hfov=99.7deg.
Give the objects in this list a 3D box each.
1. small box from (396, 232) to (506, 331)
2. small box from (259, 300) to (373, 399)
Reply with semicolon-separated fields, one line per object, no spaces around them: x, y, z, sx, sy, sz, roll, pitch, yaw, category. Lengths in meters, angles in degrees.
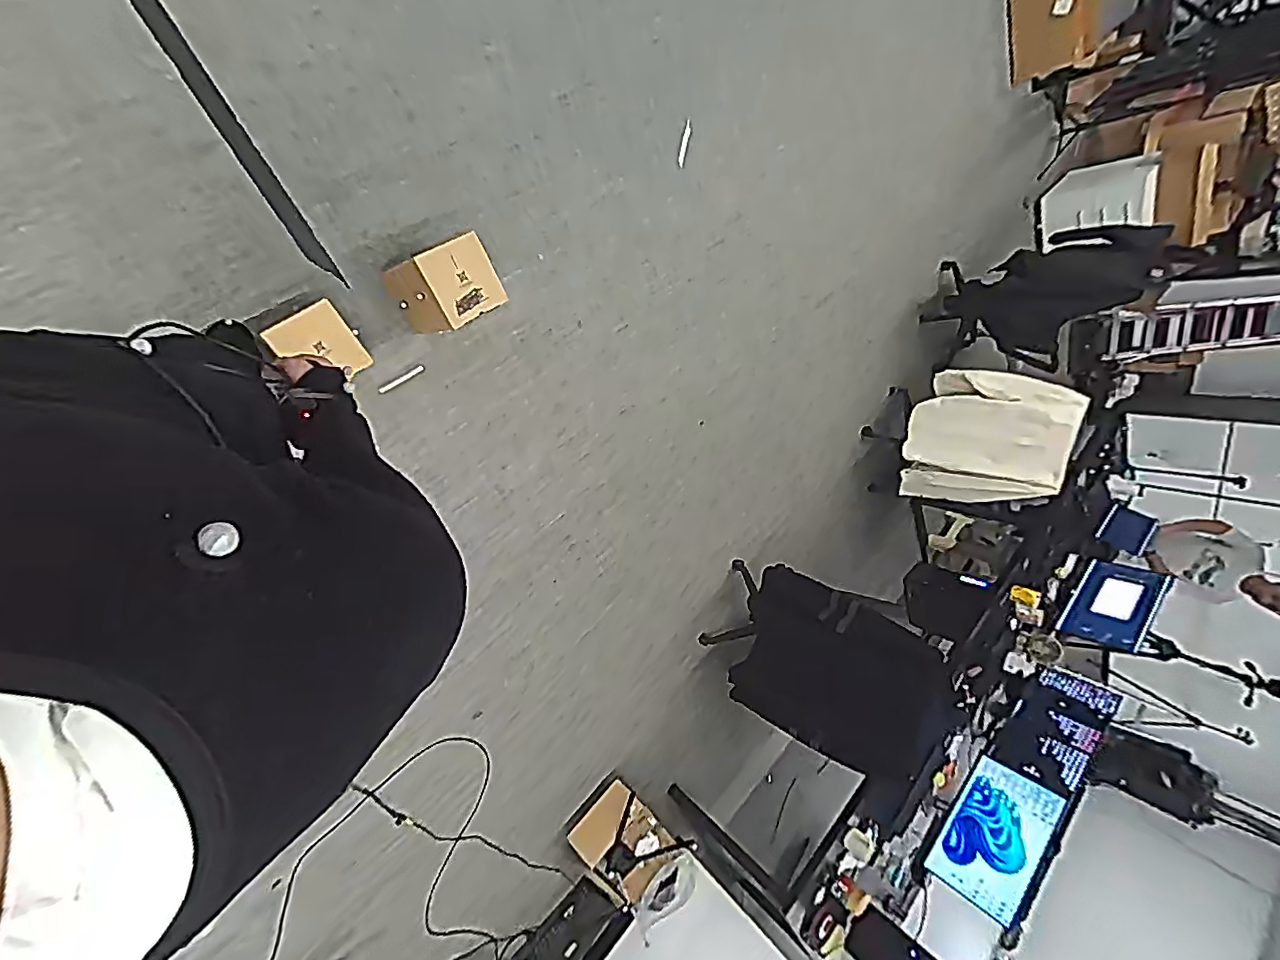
-0.466;-0.480;1.330;0.168;0.176;0.179;-40;121;-25;small box
-0.798;-0.316;1.325;0.168;0.176;0.179;-43;123;-22;small box
